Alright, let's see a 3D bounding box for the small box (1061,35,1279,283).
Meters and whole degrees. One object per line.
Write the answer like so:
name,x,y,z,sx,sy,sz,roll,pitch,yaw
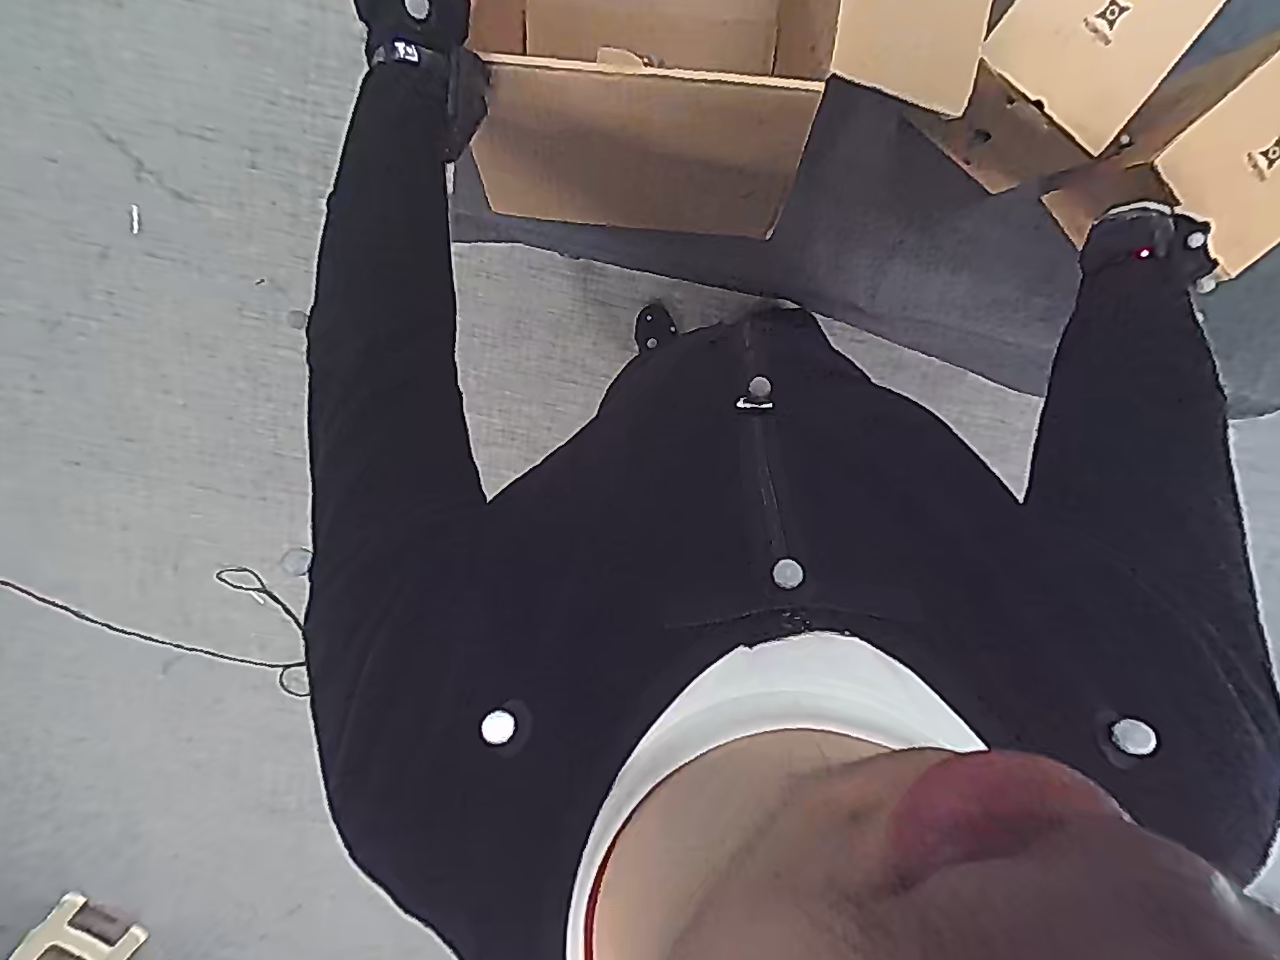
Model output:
small box,0.639,-0.347,0.620,0.168,0.176,0.179,42,103,-12
